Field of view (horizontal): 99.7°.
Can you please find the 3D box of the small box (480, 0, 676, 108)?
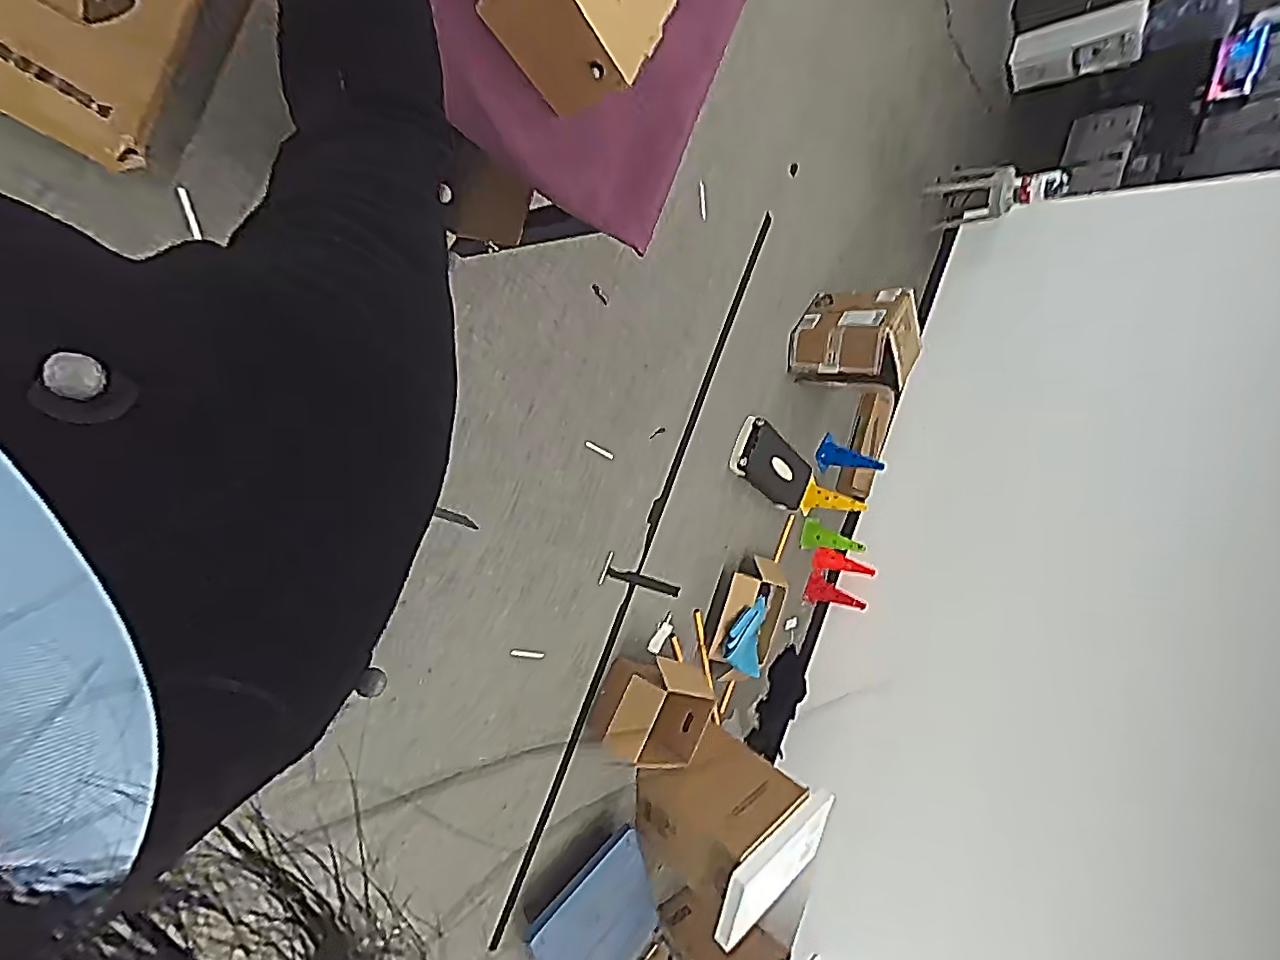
[{"bbox_3d":[-0.086,-0.663,0.747,0.179,0.176,0.168,34,77,-46],"label":"small box"}]
